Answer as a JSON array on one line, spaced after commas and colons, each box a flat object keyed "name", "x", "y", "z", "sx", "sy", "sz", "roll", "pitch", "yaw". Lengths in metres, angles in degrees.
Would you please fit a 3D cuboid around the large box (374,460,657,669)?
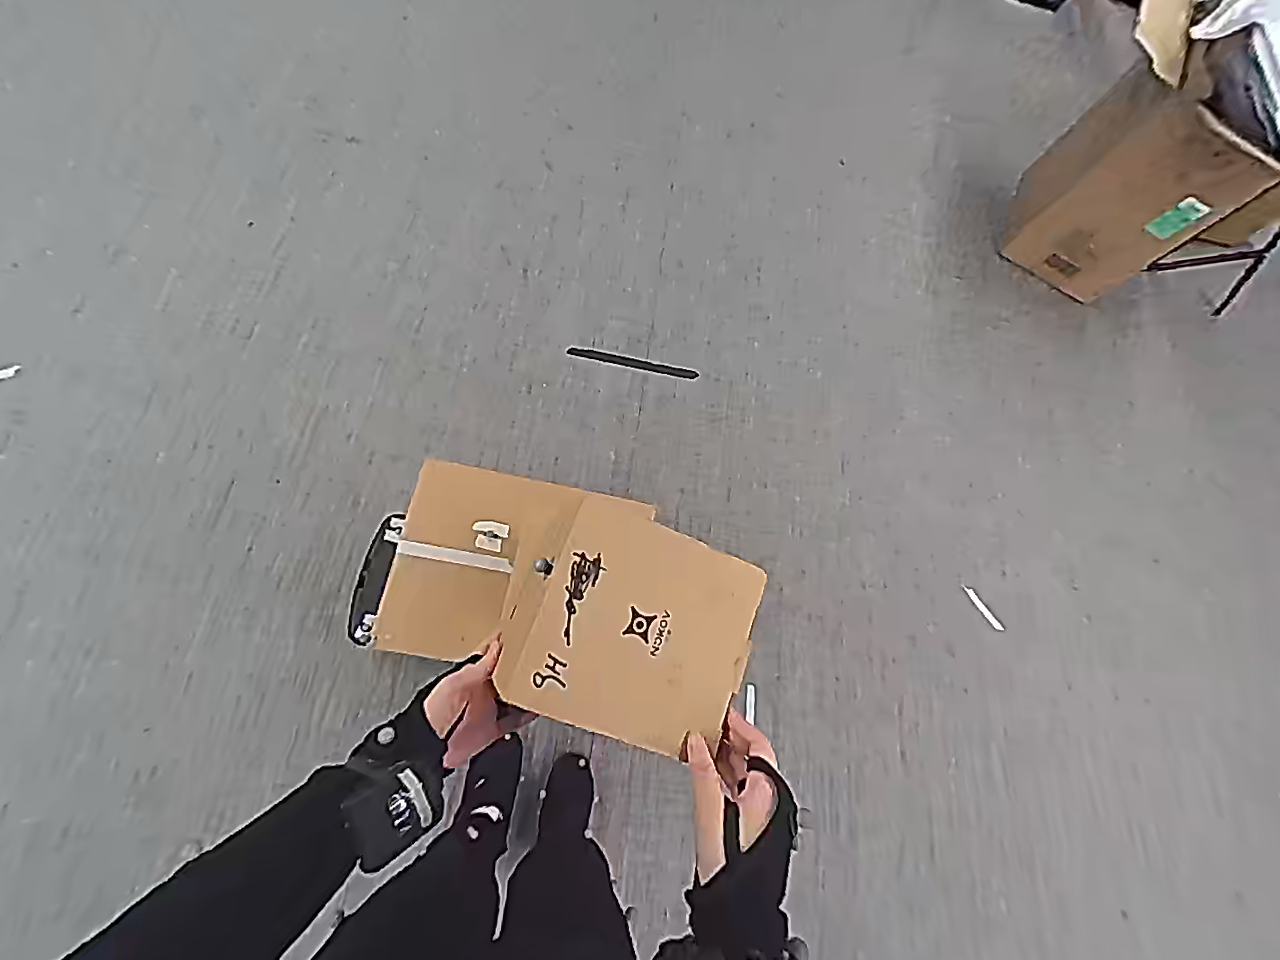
[{"name": "large box", "x": -0.205, "y": 0.189, "z": 1.015, "sx": 0.408, "sy": 0.320, "sz": 0.320, "roll": 12, "pitch": 70, "yaw": -6}]

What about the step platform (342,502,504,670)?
[{"name": "step platform", "x": -0.281, "y": 0.281, "z": 1.225, "sx": 0.684, "sy": 0.204, "sz": 0.286, "roll": 17, "pitch": 70, "yaw": -4}]

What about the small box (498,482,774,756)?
[{"name": "small box", "x": -0.013, "y": 0.122, "z": 0.496, "sx": 0.179, "sy": 0.176, "sz": 0.168, "roll": 25, "pitch": 70, "yaw": -13}]

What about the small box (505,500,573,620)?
[{"name": "small box", "x": -0.086, "y": 0.143, "z": 0.790, "sx": 0.179, "sy": 0.176, "sz": 0.168, "roll": 13, "pitch": 71, "yaw": -6}]
